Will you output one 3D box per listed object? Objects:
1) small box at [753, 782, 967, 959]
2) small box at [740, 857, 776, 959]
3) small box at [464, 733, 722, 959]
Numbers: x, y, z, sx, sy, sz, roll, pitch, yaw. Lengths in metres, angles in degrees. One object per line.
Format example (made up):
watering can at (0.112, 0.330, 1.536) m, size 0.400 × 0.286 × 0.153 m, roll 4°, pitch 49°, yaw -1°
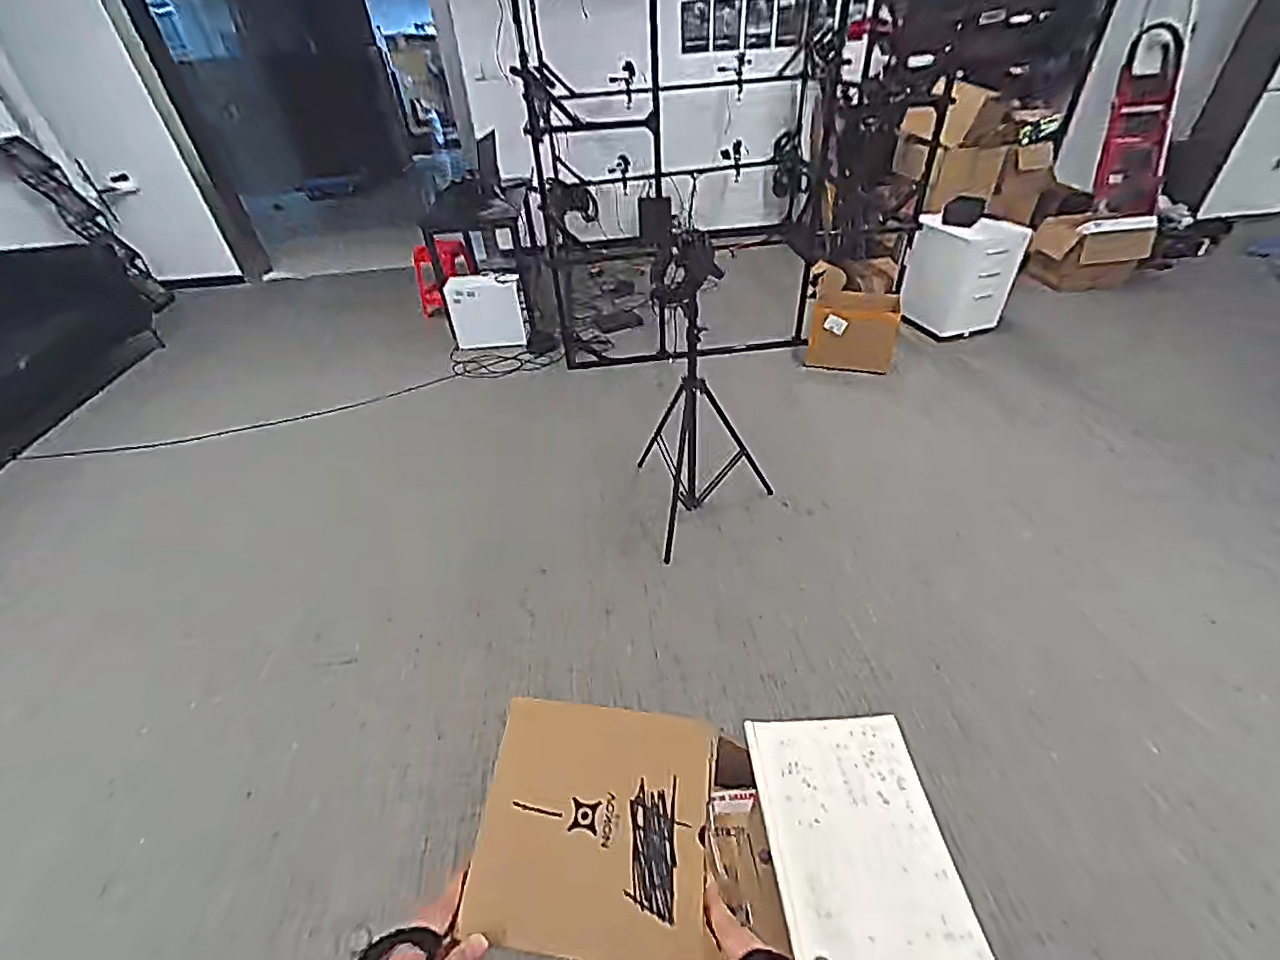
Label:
small box at (0.244, 0.500, 0.657) m, size 0.168 × 0.176 × 0.179 m, roll -4°, pitch 39°, yaw -4°
small box at (0.251, 0.632, 0.755) m, size 0.179 × 0.176 × 0.168 m, roll -7°, pitch 40°, yaw -5°
small box at (-0.027, 0.337, 0.474) m, size 0.179 × 0.176 × 0.168 m, roll 5°, pitch 53°, yaw 6°
